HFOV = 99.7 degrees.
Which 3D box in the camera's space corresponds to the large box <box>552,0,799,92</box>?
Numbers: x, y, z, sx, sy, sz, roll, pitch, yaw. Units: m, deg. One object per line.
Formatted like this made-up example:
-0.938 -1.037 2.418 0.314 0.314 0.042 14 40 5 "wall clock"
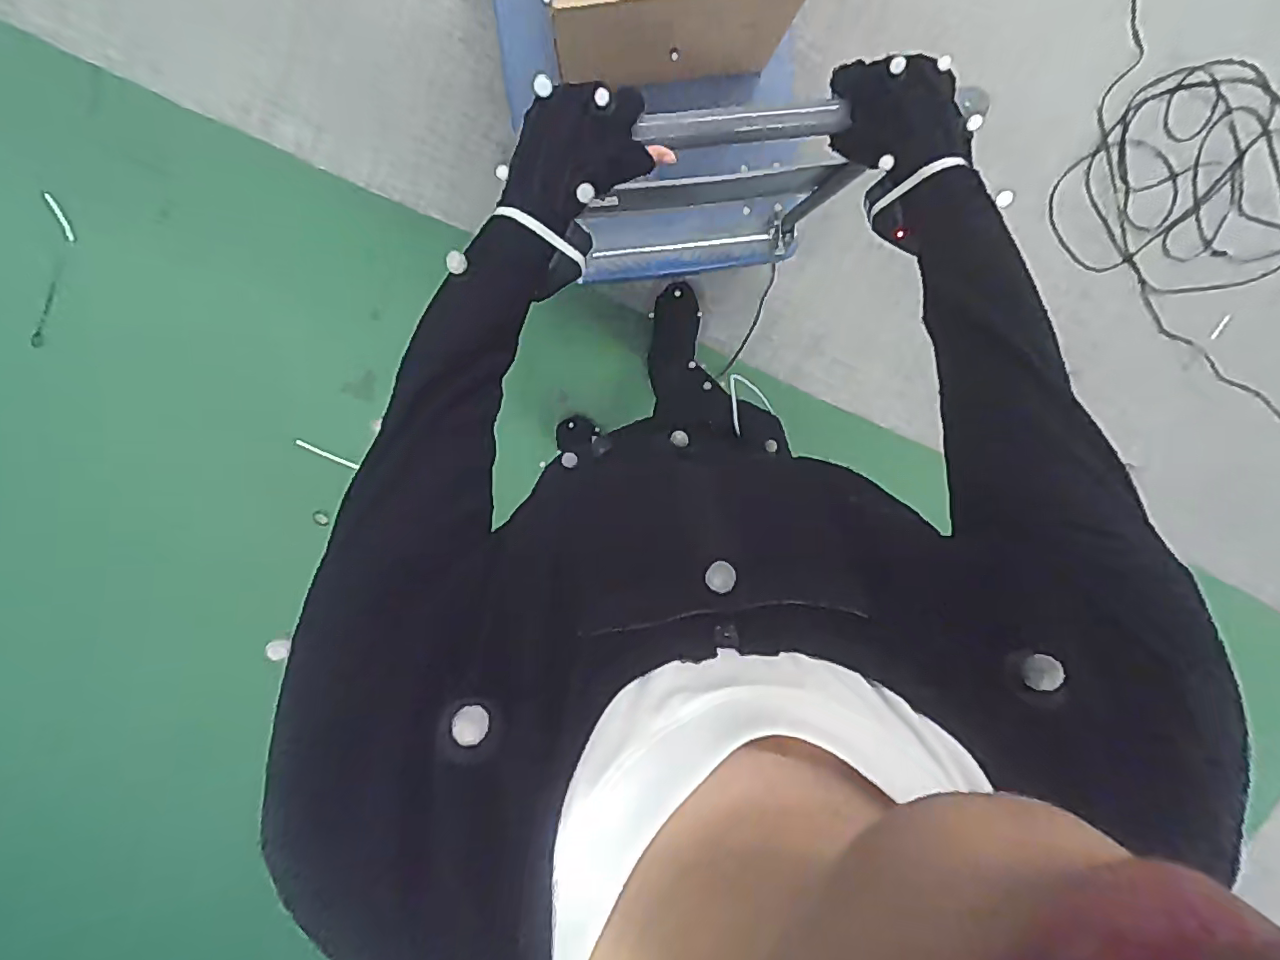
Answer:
0.040 -0.909 0.903 0.408 0.320 0.320 -9 106 -1 "large box"
